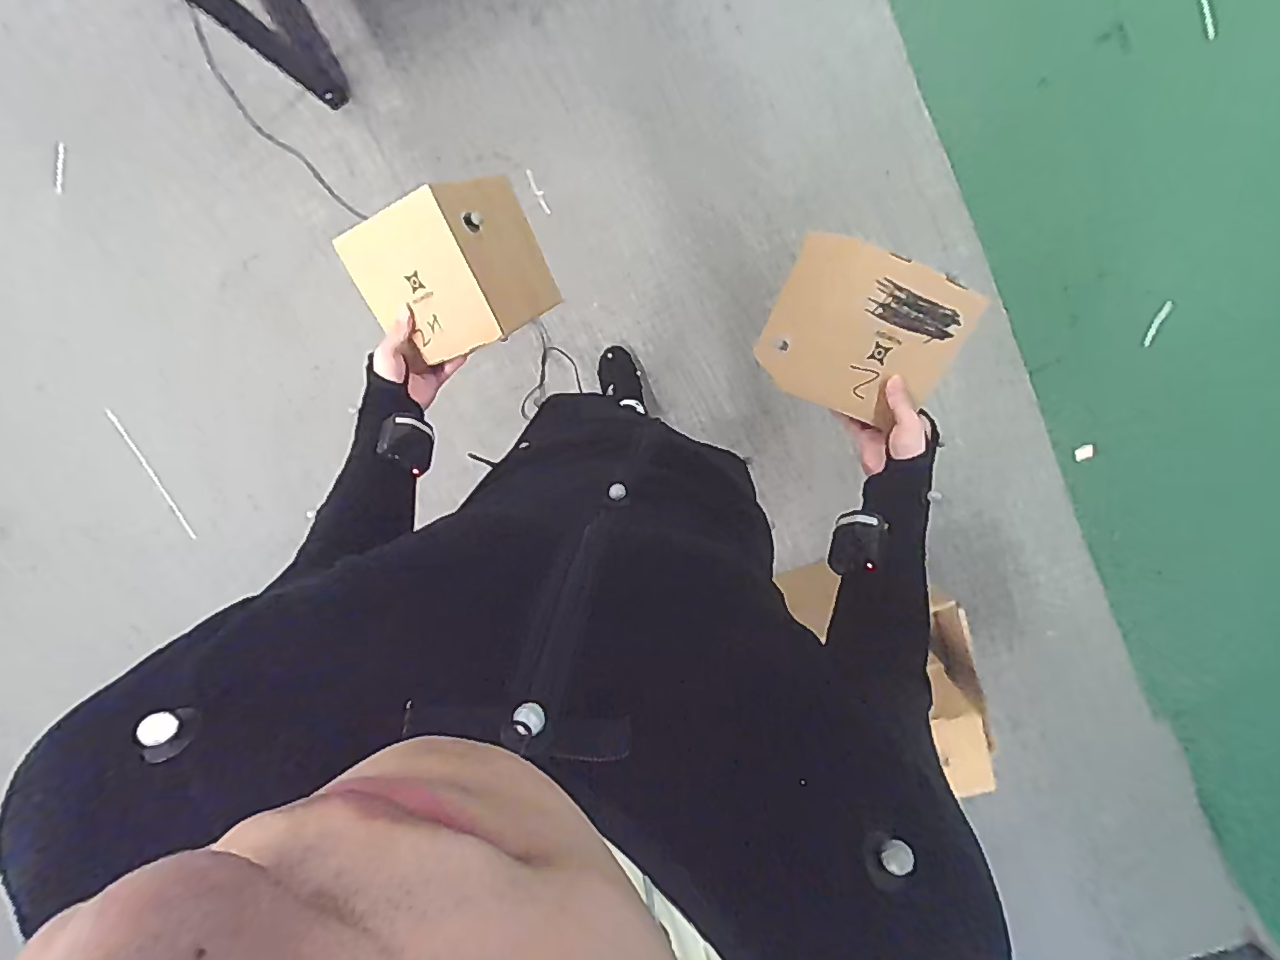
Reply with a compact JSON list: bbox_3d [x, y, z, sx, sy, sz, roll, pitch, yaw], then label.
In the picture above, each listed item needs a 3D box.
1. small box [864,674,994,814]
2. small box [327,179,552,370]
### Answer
[{"bbox_3d":[0.581,0.531,1.104,0.168,0.176,0.179,-17,99,8],"label":"small box"},{"bbox_3d":[-0.246,-0.270,0.702,0.168,0.176,0.179,-11,117,27],"label":"small box"}]
